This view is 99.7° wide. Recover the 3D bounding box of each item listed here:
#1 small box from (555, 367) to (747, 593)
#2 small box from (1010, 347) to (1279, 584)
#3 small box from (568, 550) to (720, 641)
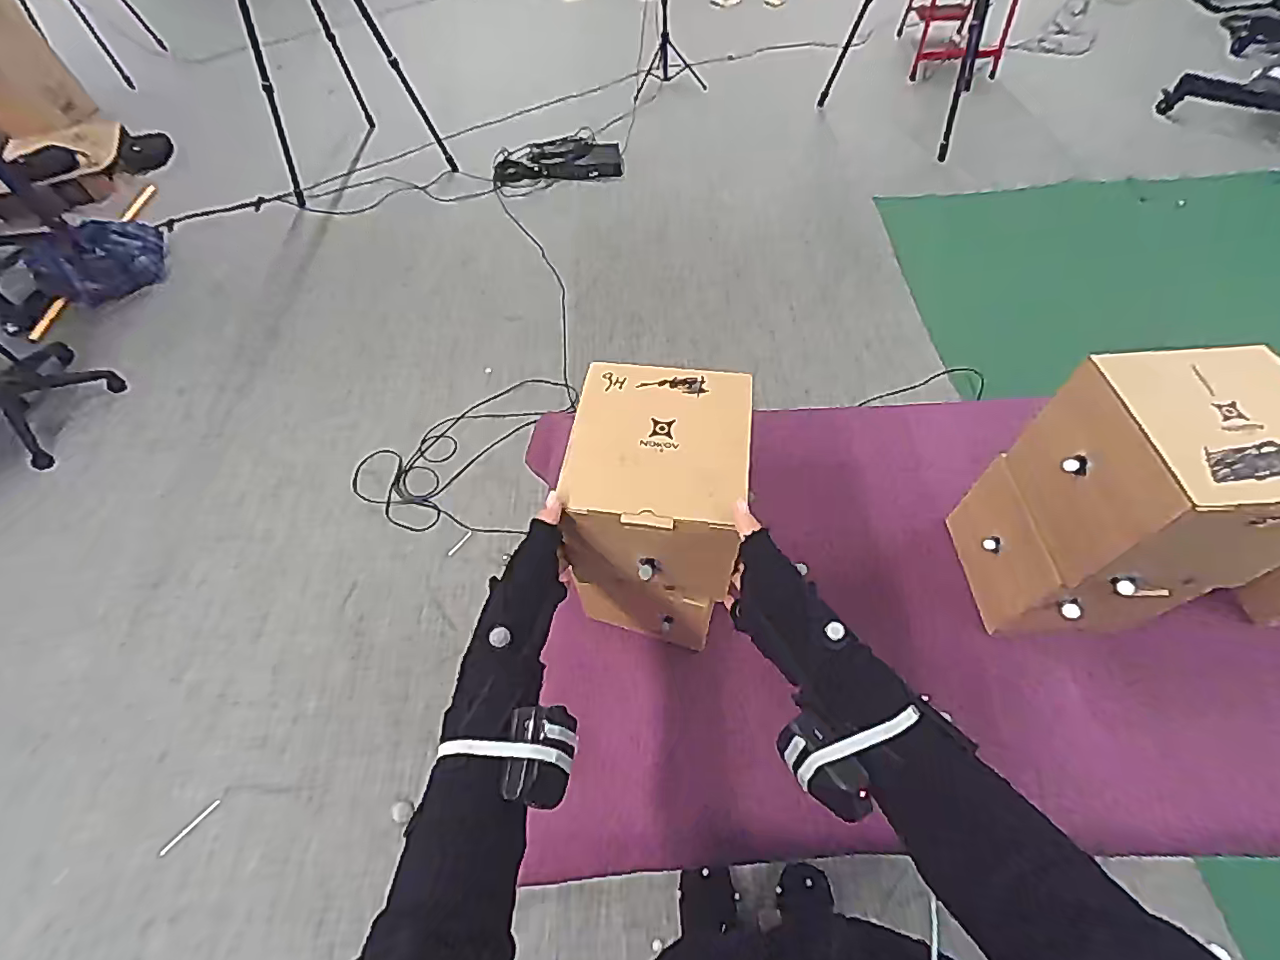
[{"bbox_3d":[0.021,0.006,0.561,0.168,0.176,0.179,3,57,6],"label":"small box"},{"bbox_3d":[0.514,-0.005,0.531,0.168,0.176,0.179,-3,55,2],"label":"small box"},{"bbox_3d":[0.028,0.083,0.684,0.168,0.176,0.179,14,58,12],"label":"small box"}]
